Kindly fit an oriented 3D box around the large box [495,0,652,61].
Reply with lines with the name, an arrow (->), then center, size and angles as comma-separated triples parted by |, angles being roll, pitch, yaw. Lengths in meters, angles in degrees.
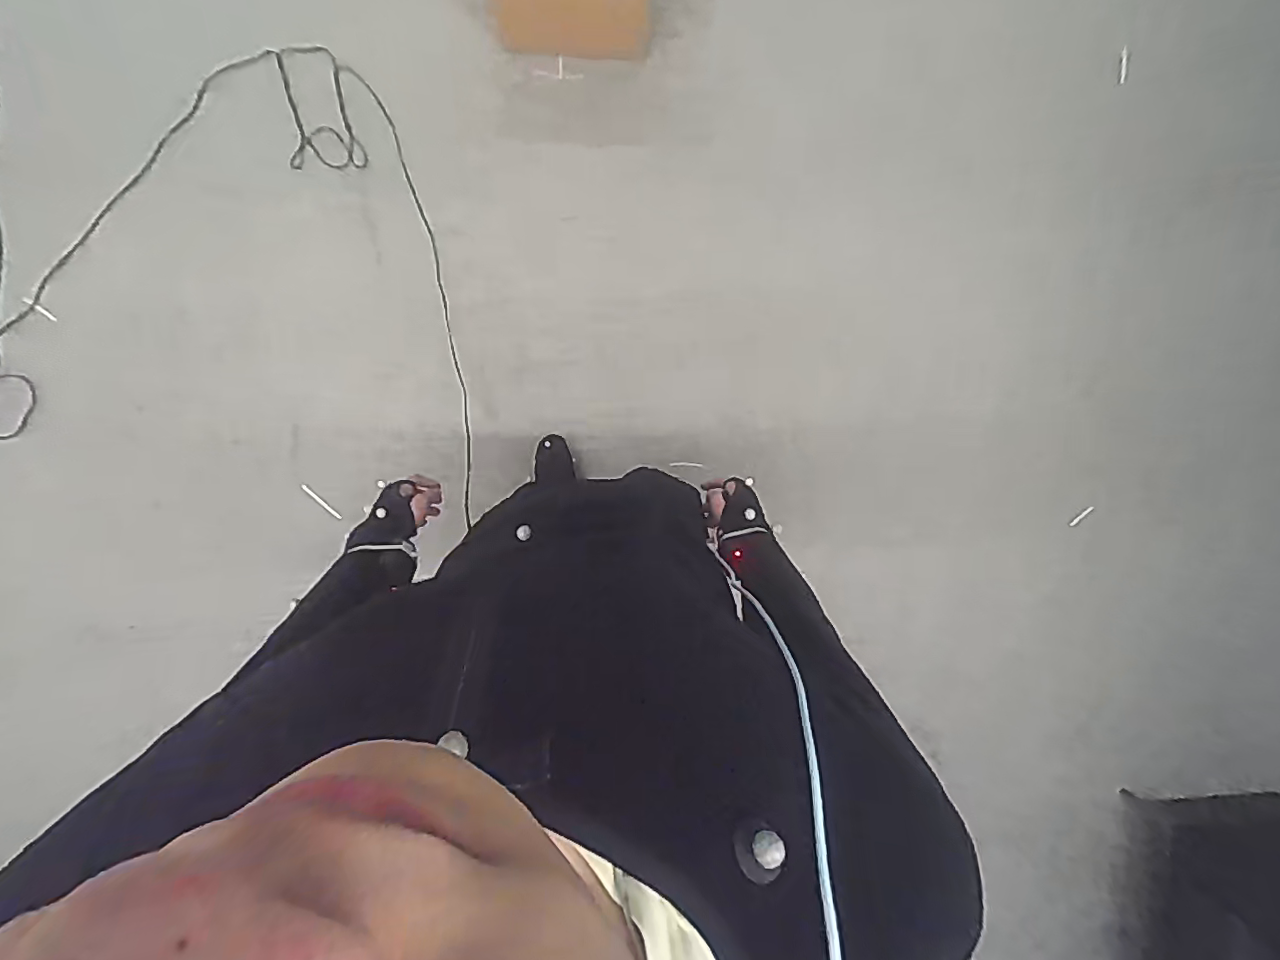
large box -> -0.179, -1.352, 1.402 | 0.408, 0.320, 0.320 | -2, 95, -5
